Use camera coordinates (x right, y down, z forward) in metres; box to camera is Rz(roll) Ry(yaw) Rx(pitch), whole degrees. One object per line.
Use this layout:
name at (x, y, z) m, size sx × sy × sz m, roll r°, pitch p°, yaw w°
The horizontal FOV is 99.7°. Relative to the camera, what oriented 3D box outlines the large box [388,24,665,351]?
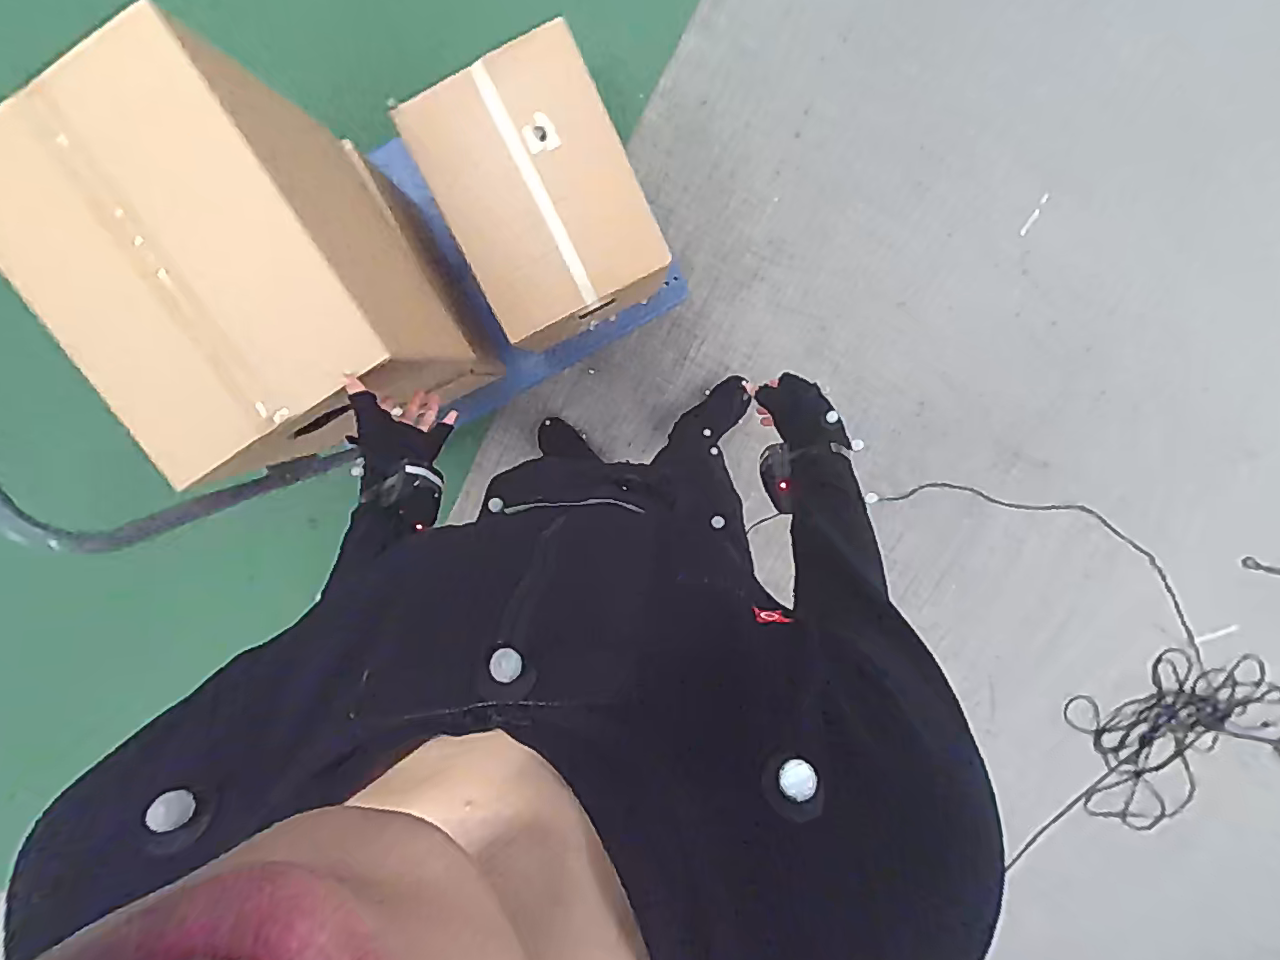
large box at (-0.180, -0.501, 1.033) m, size 0.320 × 0.320 × 0.408 m, roll -26°, pitch 100°, yaw 3°
